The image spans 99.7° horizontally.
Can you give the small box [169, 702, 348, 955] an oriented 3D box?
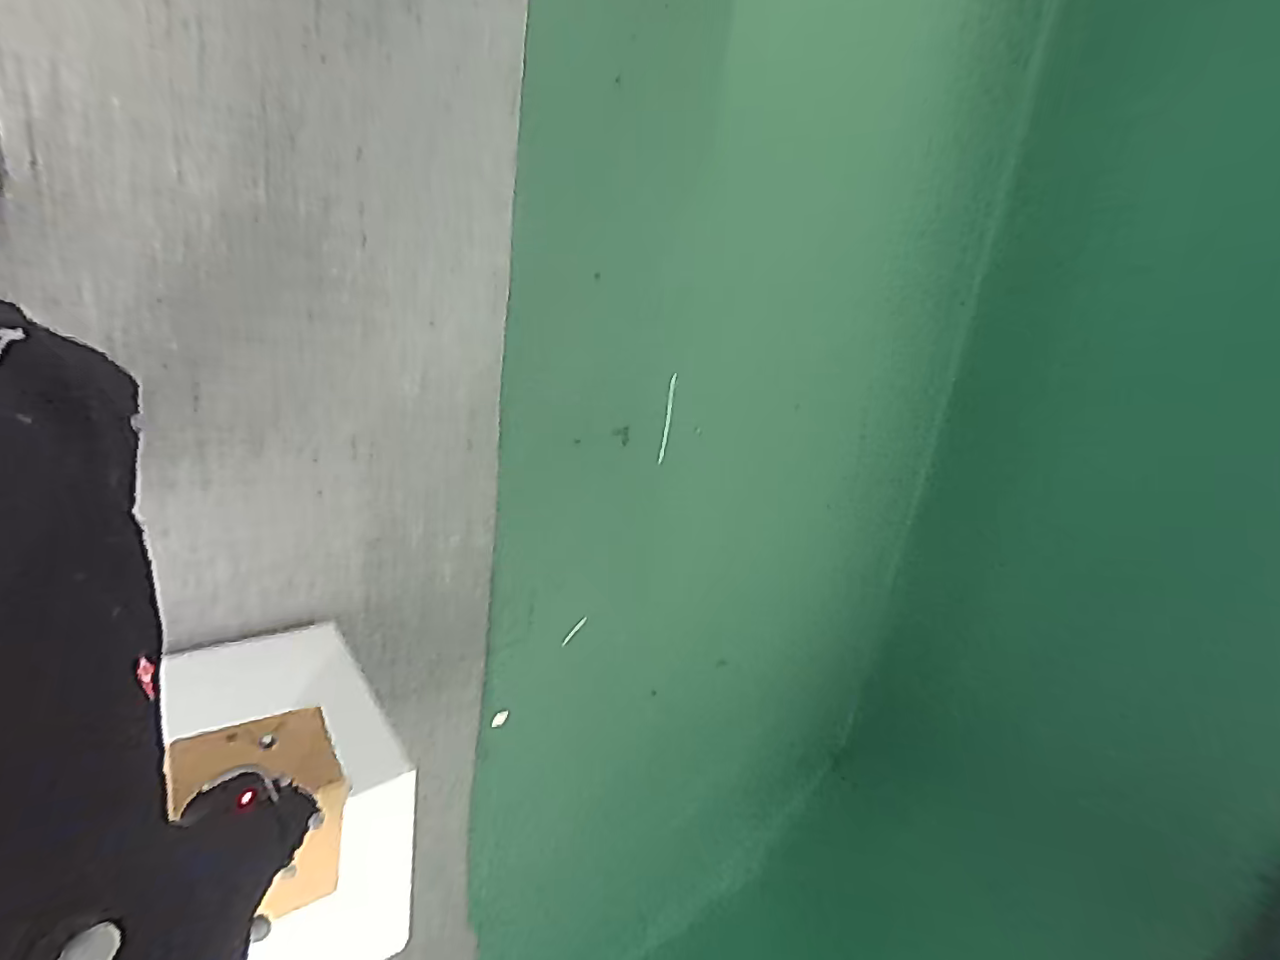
[{"bbox_3d":[-0.488,0.421,0.688,0.168,0.176,0.179,-1,107,-42],"label":"small box"}]
